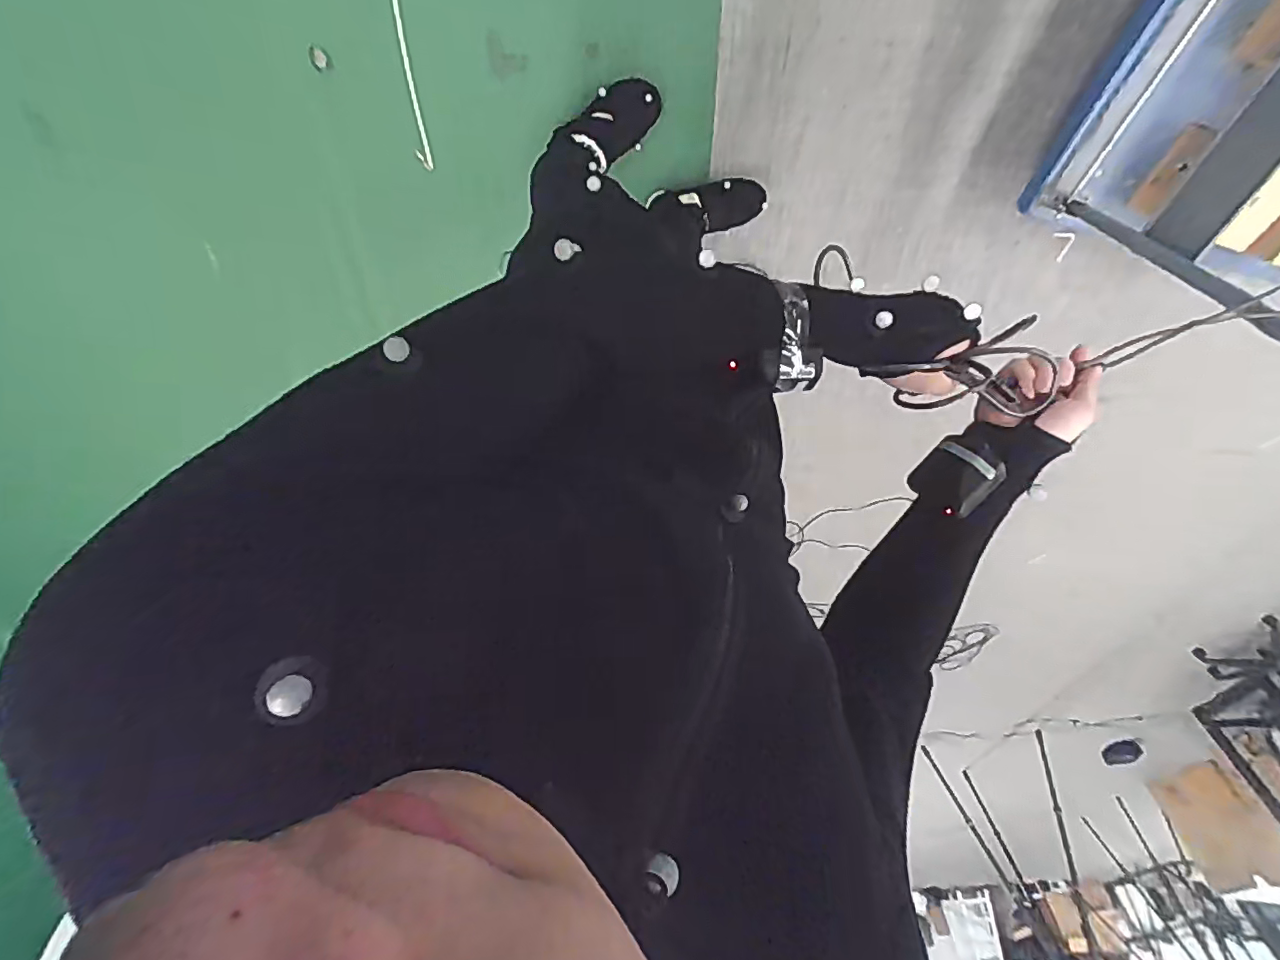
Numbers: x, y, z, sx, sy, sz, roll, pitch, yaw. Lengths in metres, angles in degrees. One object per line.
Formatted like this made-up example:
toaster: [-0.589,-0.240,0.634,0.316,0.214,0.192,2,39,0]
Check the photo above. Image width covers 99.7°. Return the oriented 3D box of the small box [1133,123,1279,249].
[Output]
small box: [1.195,-0.605,1.110,0.179,0.176,0.168,10,132,-11]
